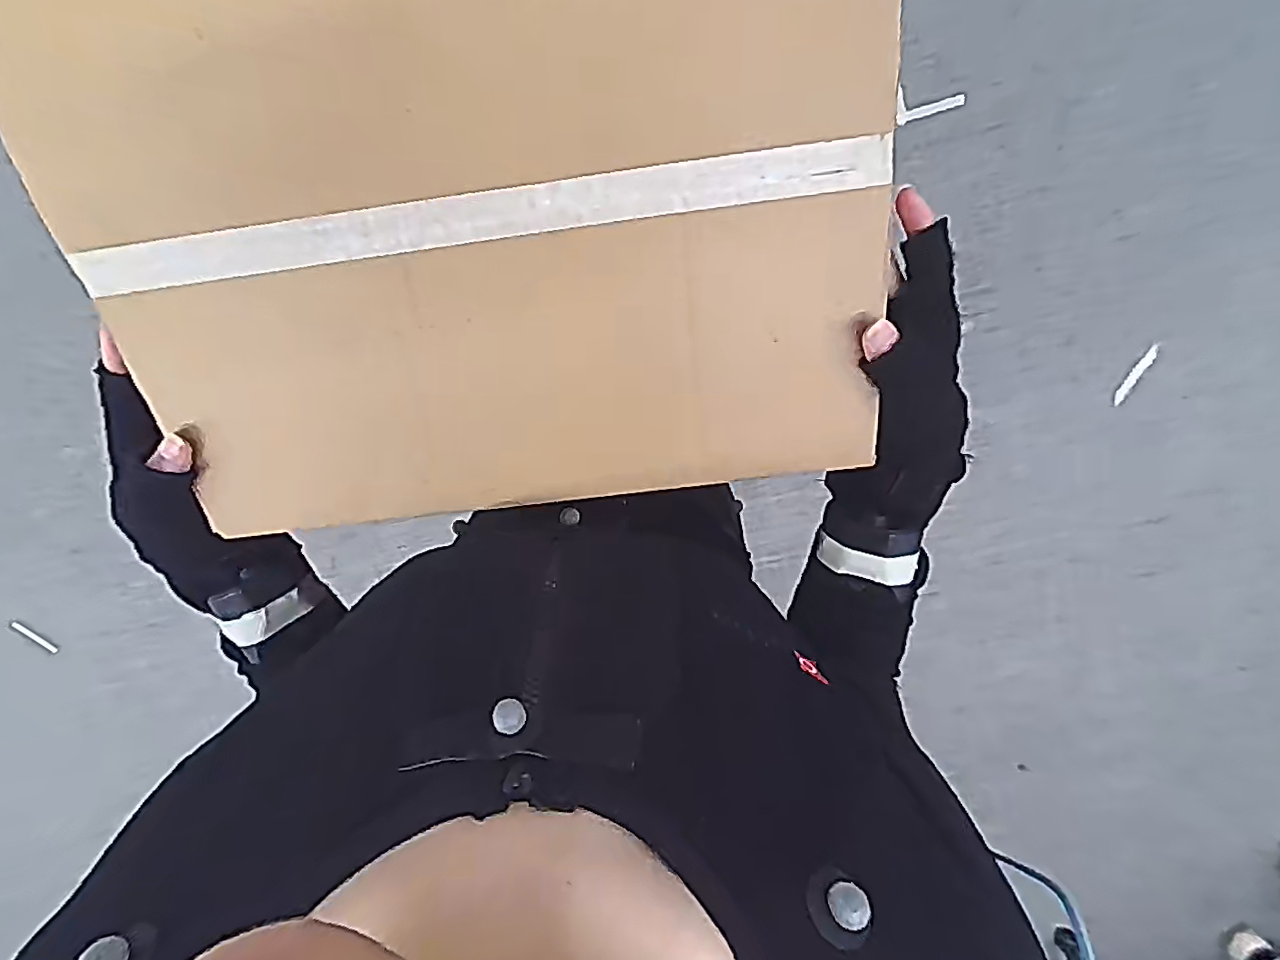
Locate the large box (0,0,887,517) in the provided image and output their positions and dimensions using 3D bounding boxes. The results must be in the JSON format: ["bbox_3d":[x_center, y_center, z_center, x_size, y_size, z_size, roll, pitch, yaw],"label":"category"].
[{"bbox_3d":[-0.081,-0.198,0.412,0.408,0.320,0.320,-7,115,3],"label":"large box"}]
